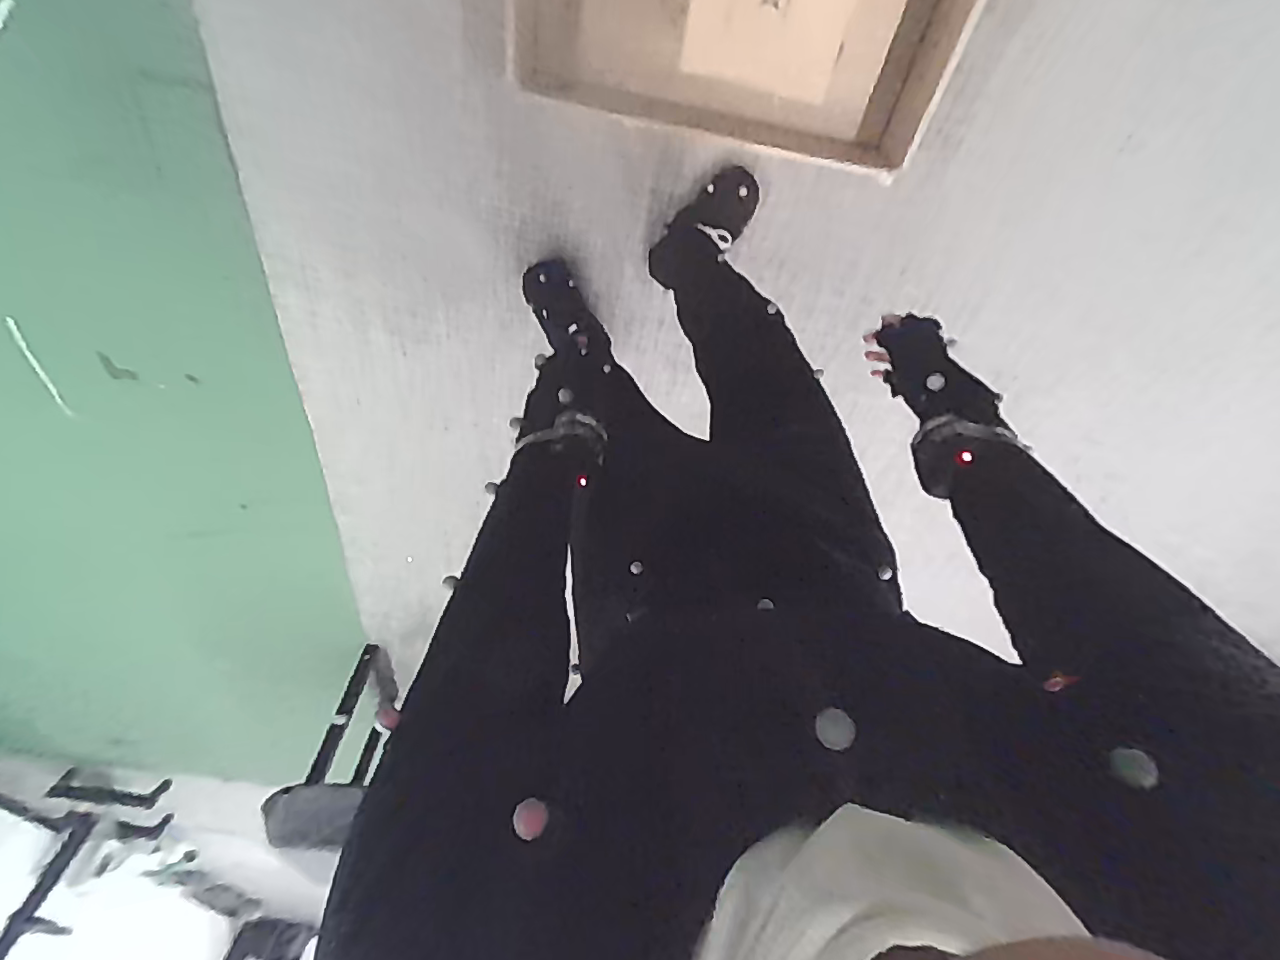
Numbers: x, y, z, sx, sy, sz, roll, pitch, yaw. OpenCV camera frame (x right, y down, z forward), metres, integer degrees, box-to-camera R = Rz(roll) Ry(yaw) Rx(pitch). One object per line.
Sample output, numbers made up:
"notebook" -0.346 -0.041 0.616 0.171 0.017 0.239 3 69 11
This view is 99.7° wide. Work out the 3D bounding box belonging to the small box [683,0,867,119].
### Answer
"small box" 0.151 -0.547 0.634 0.179 0.176 0.168 7 132 -3
